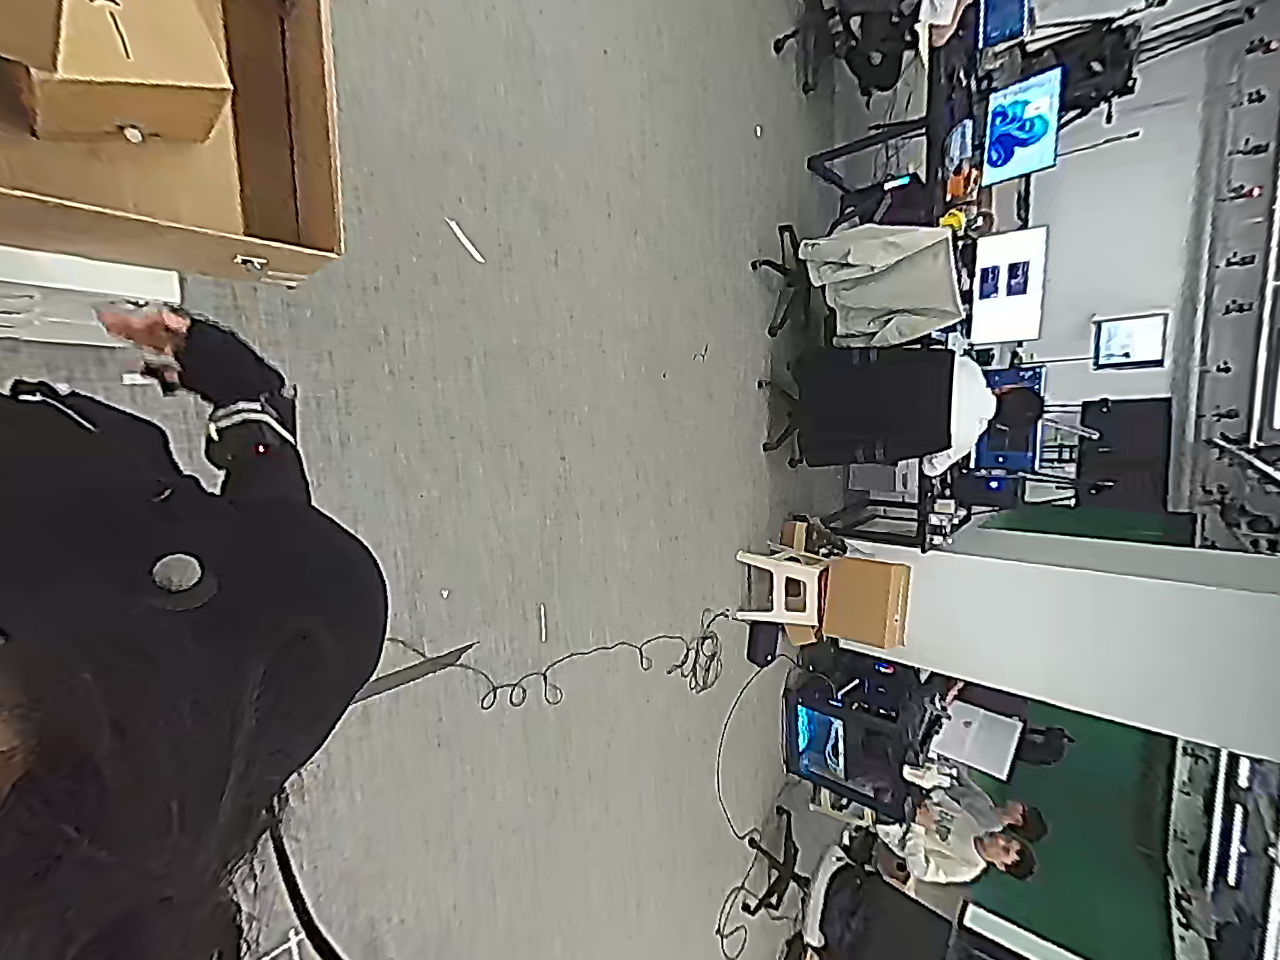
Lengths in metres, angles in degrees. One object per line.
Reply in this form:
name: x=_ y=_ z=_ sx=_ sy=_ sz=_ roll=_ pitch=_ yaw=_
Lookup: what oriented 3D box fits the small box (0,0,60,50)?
small box: x=-0.541 y=-0.453 z=0.380 sx=0.179 sy=0.176 sz=0.168 roll=-3 pitch=96 yaw=-50
